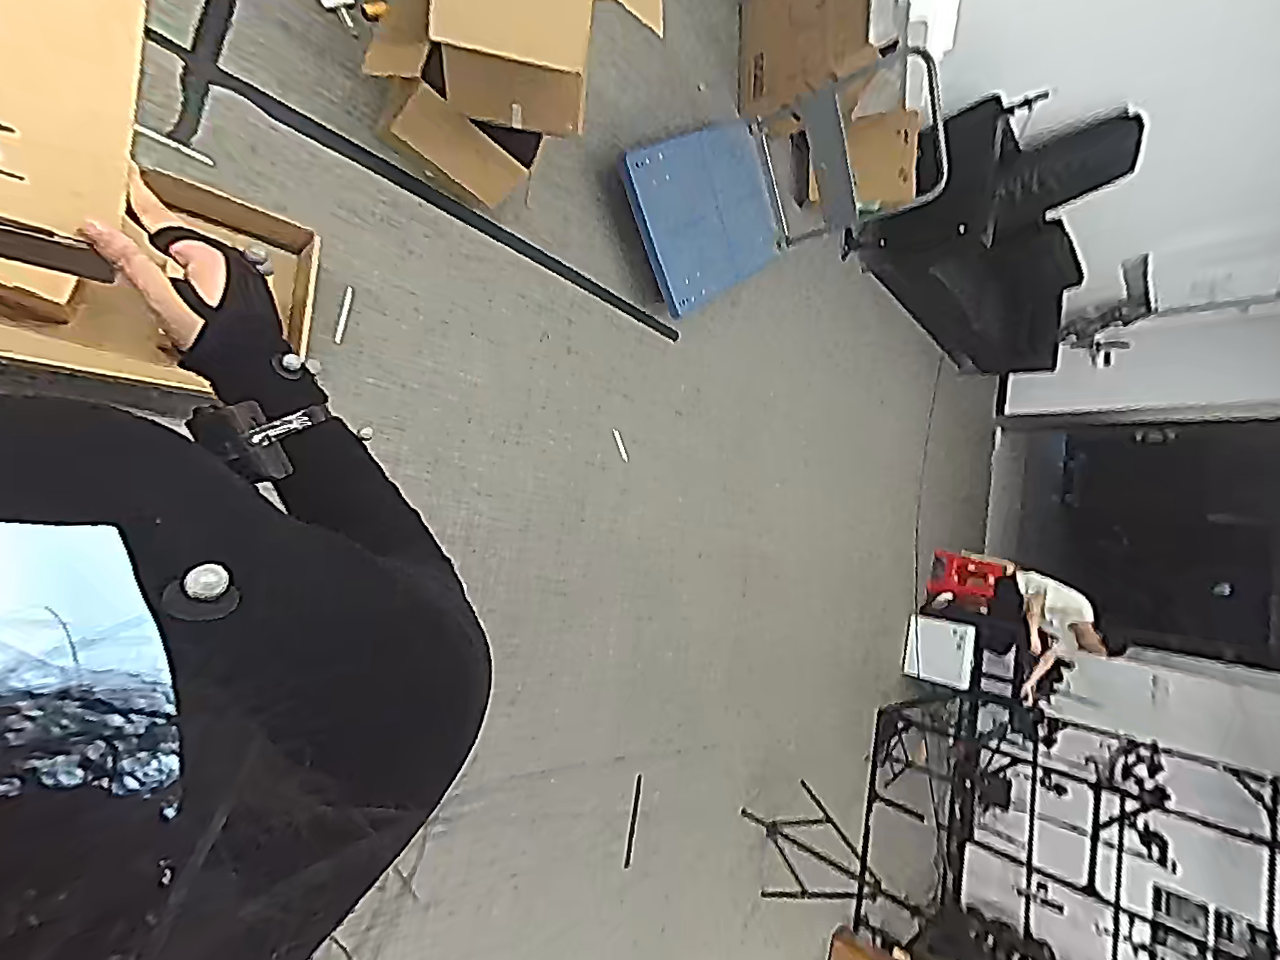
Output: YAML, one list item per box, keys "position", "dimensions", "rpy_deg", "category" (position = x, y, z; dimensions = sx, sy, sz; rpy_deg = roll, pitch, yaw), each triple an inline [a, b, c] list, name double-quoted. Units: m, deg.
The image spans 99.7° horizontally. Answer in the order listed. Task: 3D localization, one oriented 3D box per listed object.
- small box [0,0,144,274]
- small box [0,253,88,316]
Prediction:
- position: [-0.445, -0.251, 0.351]
  dimensions: [0.168, 0.176, 0.179]
  rpy_deg: [5, 93, -46]
  category: "small box"
- position: [-1.057, -0.406, 0.920]
  dimensions: [0.168, 0.176, 0.179]
  rpy_deg: [24, 75, -44]
  category: "small box"
